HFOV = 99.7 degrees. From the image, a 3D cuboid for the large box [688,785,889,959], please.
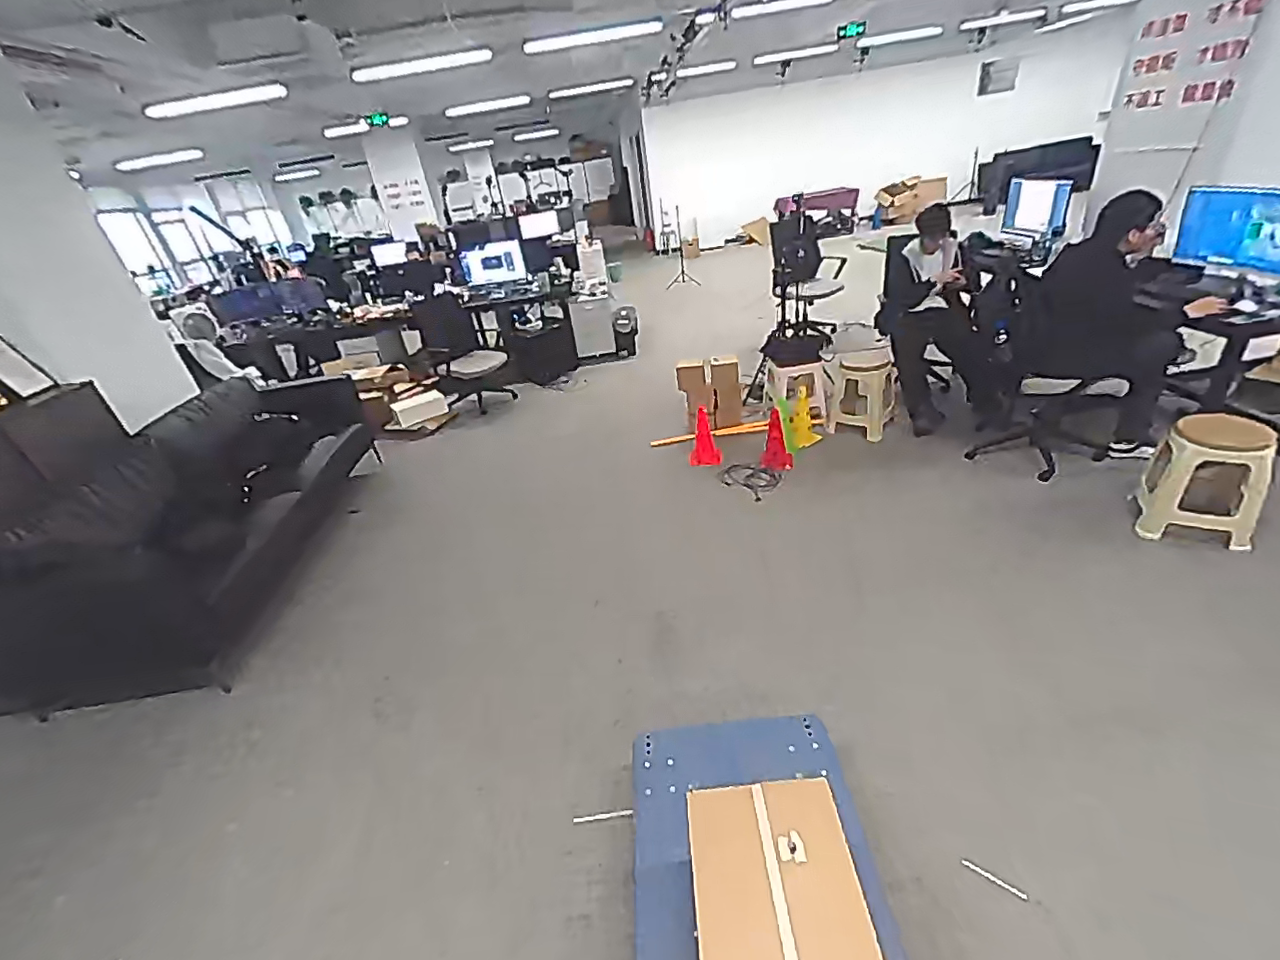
[{"bbox_3d":[0.285,0.907,1.077,0.320,0.320,0.408,-7,29,3],"label":"large box"}]
